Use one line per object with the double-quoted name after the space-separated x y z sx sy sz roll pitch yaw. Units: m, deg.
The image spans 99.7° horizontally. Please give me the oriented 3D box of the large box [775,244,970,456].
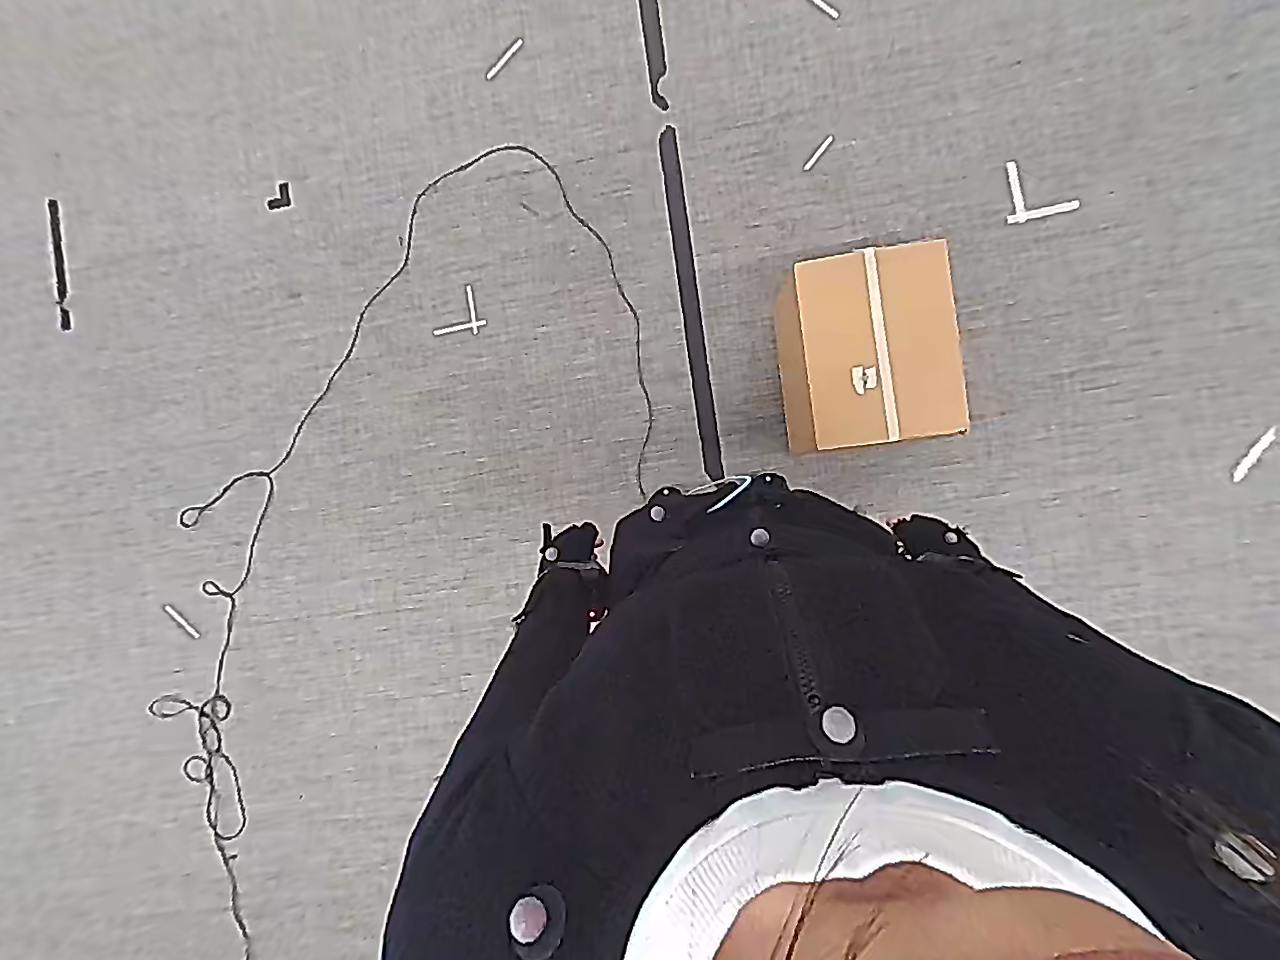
0.522 -0.278 1.282 0.320 0.320 0.408 -7 90 7 "large box"
